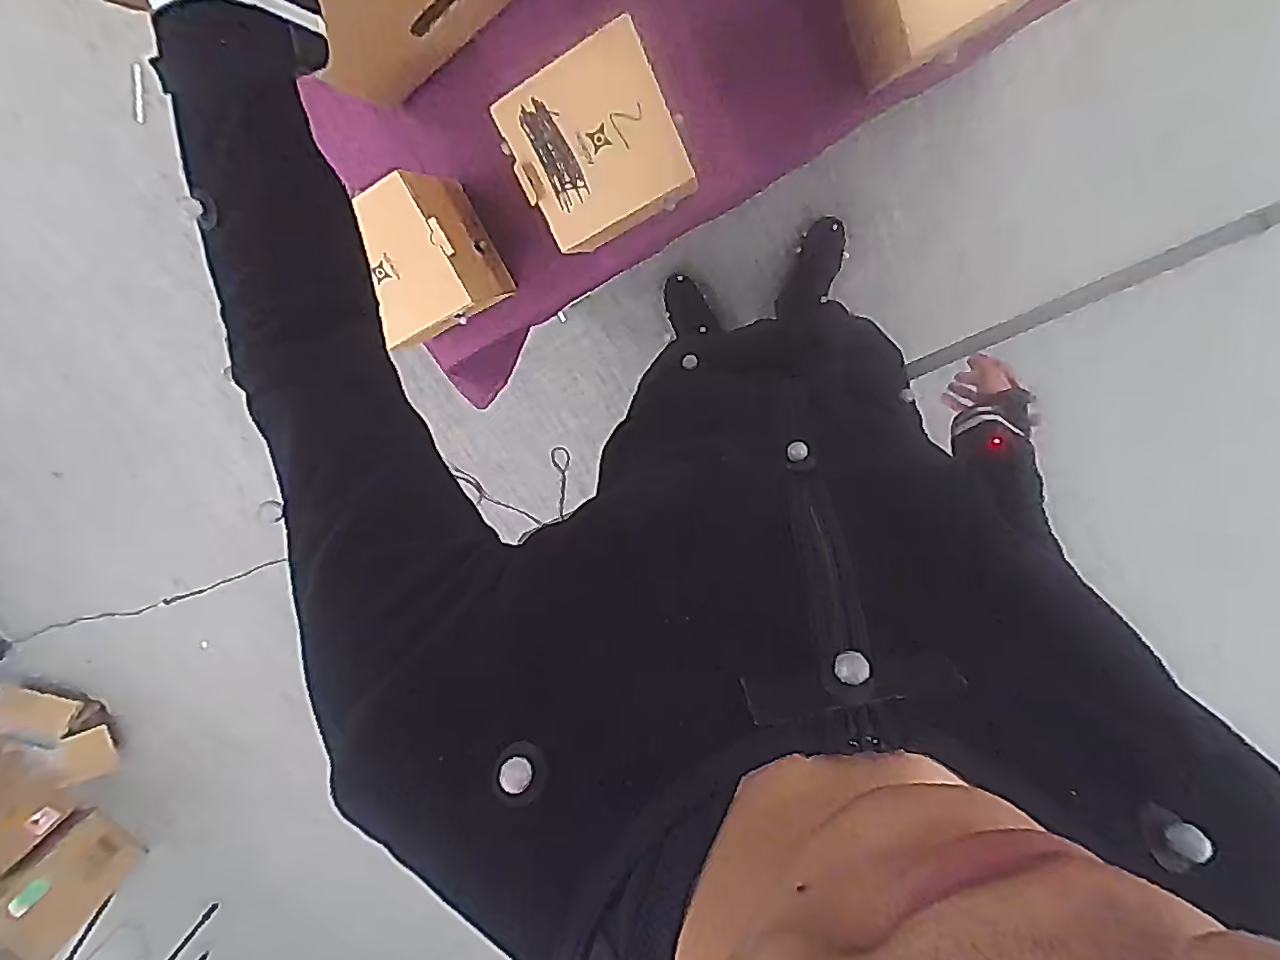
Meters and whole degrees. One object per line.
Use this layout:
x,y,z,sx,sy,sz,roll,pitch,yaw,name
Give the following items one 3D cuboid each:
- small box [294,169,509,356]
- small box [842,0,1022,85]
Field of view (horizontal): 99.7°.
-0.312,-0.293,0.745,0.179,0.176,0.168,-23,109,15,small box
0.302,-0.548,0.545,0.168,0.176,0.179,-23,110,17,small box
